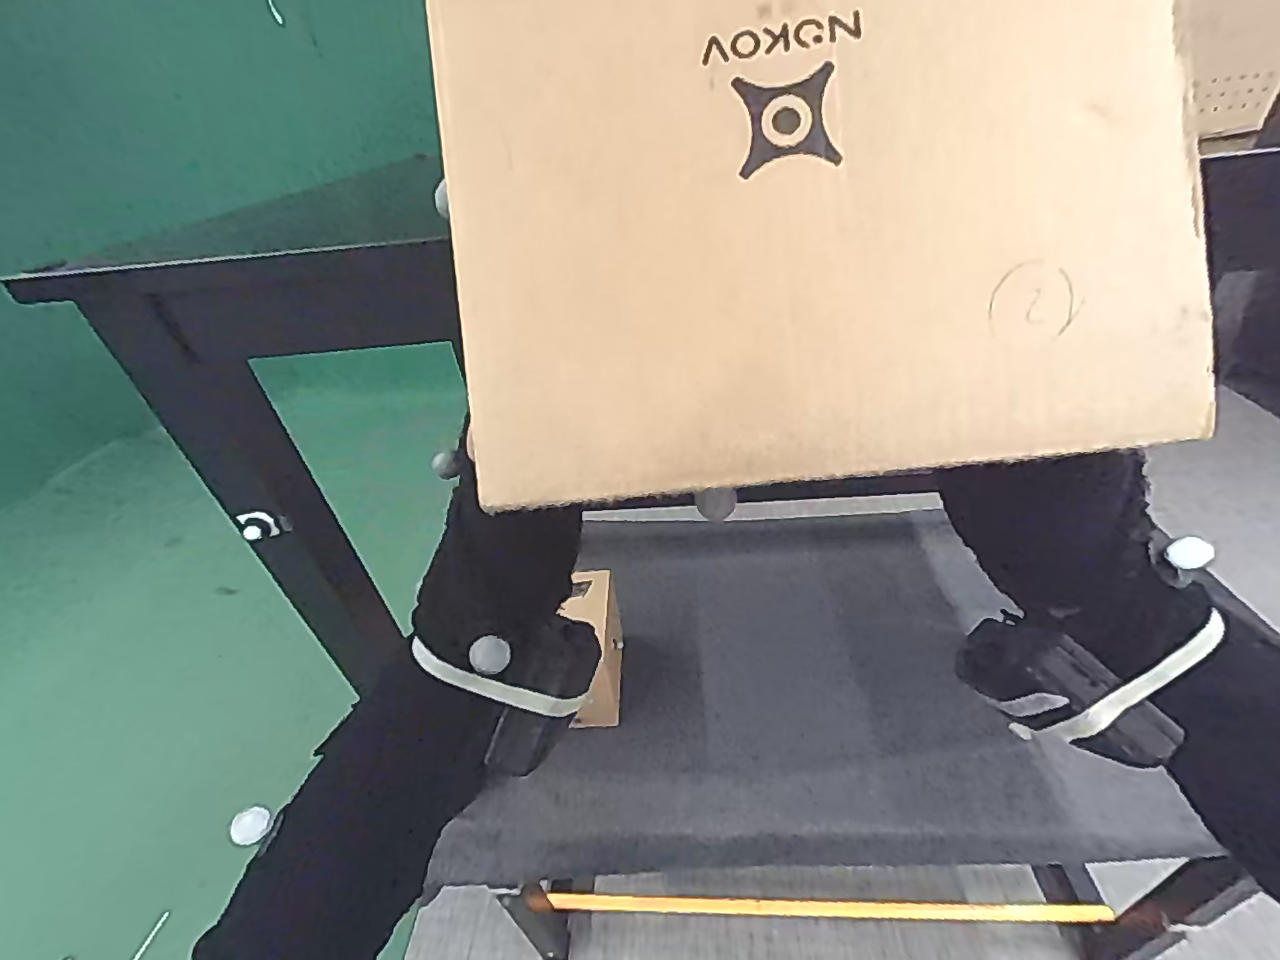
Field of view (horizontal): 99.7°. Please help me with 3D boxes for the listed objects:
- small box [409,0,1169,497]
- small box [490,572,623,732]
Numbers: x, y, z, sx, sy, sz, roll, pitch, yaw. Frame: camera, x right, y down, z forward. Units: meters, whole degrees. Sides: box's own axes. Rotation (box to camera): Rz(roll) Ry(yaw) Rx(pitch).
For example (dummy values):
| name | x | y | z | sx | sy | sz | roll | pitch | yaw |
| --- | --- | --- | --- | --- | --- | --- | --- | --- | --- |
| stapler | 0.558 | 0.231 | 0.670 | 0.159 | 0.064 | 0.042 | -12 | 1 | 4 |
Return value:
| name | x | y | z | sx | sy | sz | roll | pitch | yaw |
| --- | --- | --- | --- | --- | --- | --- | --- | --- | --- |
| small box | 0.036 | -0.092 | 0.207 | 0.168 | 0.179 | 0.176 | -6 | 0 | 6 |
| small box | -0.119 | 0.270 | 0.856 | 0.168 | 0.176 | 0.179 | -5 | 36 | 4 |
